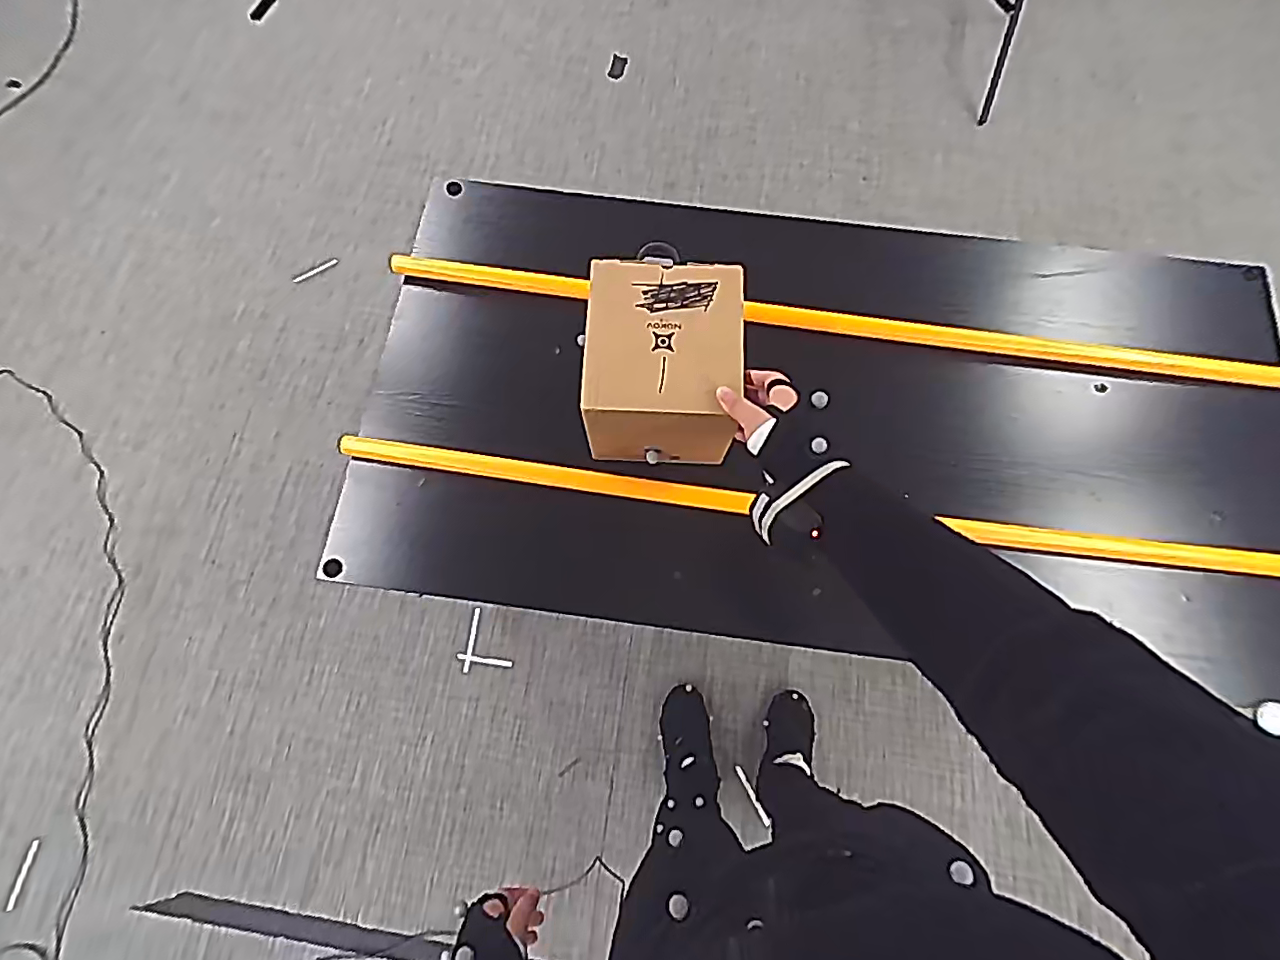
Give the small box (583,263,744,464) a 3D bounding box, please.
[{"bbox_3d":[0.027,-0.129,0.645,0.168,0.176,0.179,2,75,1],"label":"small box"}]
